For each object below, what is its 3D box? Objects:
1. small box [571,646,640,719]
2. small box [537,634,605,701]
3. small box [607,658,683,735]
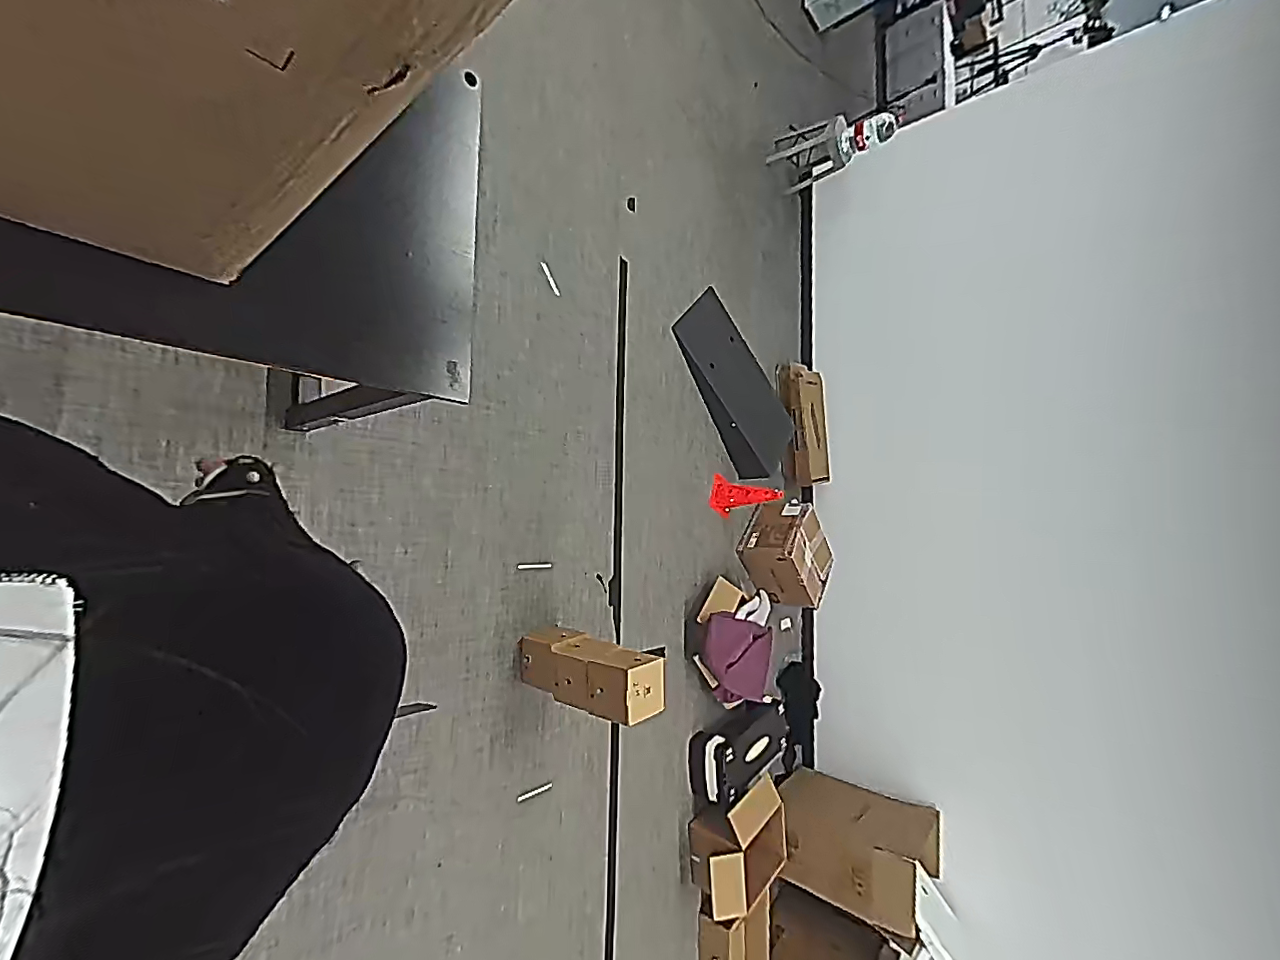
[{"bbox_3d":[-0.114,0.659,1.781,0.179,0.176,0.168,-5,92,-50],"label":"small box"},{"bbox_3d":[-0.240,0.646,1.887,0.179,0.176,0.168,-3,90,-49],"label":"small box"},{"bbox_3d":[0.017,0.663,1.679,0.179,0.176,0.168,3,85,-51],"label":"small box"}]
